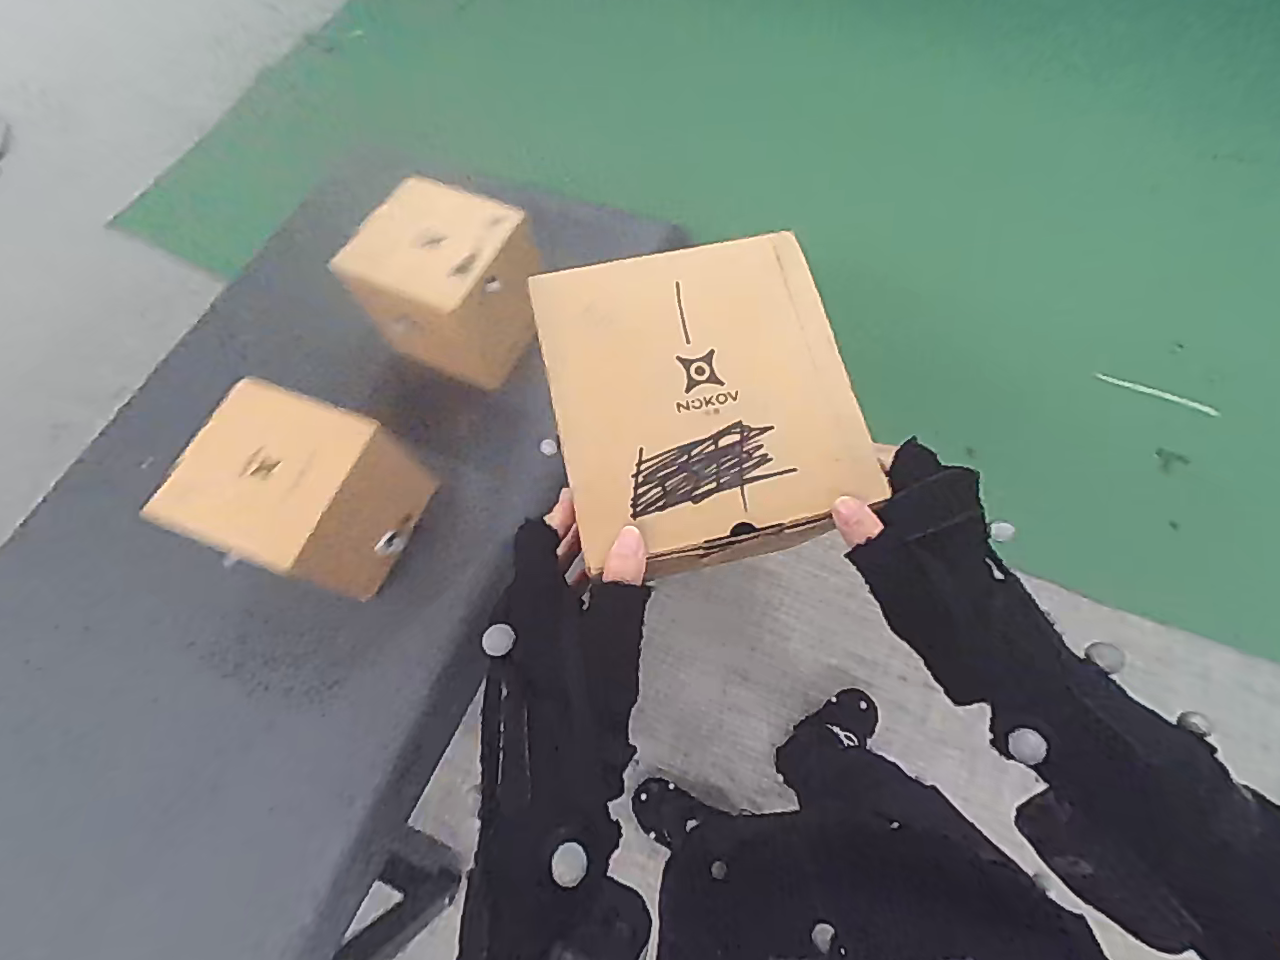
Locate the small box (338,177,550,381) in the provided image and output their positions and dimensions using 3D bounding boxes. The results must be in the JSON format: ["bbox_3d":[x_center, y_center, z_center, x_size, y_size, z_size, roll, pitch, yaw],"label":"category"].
[{"bbox_3d":[-0.246,-0.259,0.724,0.179,0.176,0.168,23,72,12],"label":"small box"}]

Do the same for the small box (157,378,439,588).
[{"bbox_3d":[-0.370,0.013,0.623,0.179,0.176,0.168,18,71,9],"label":"small box"}]
